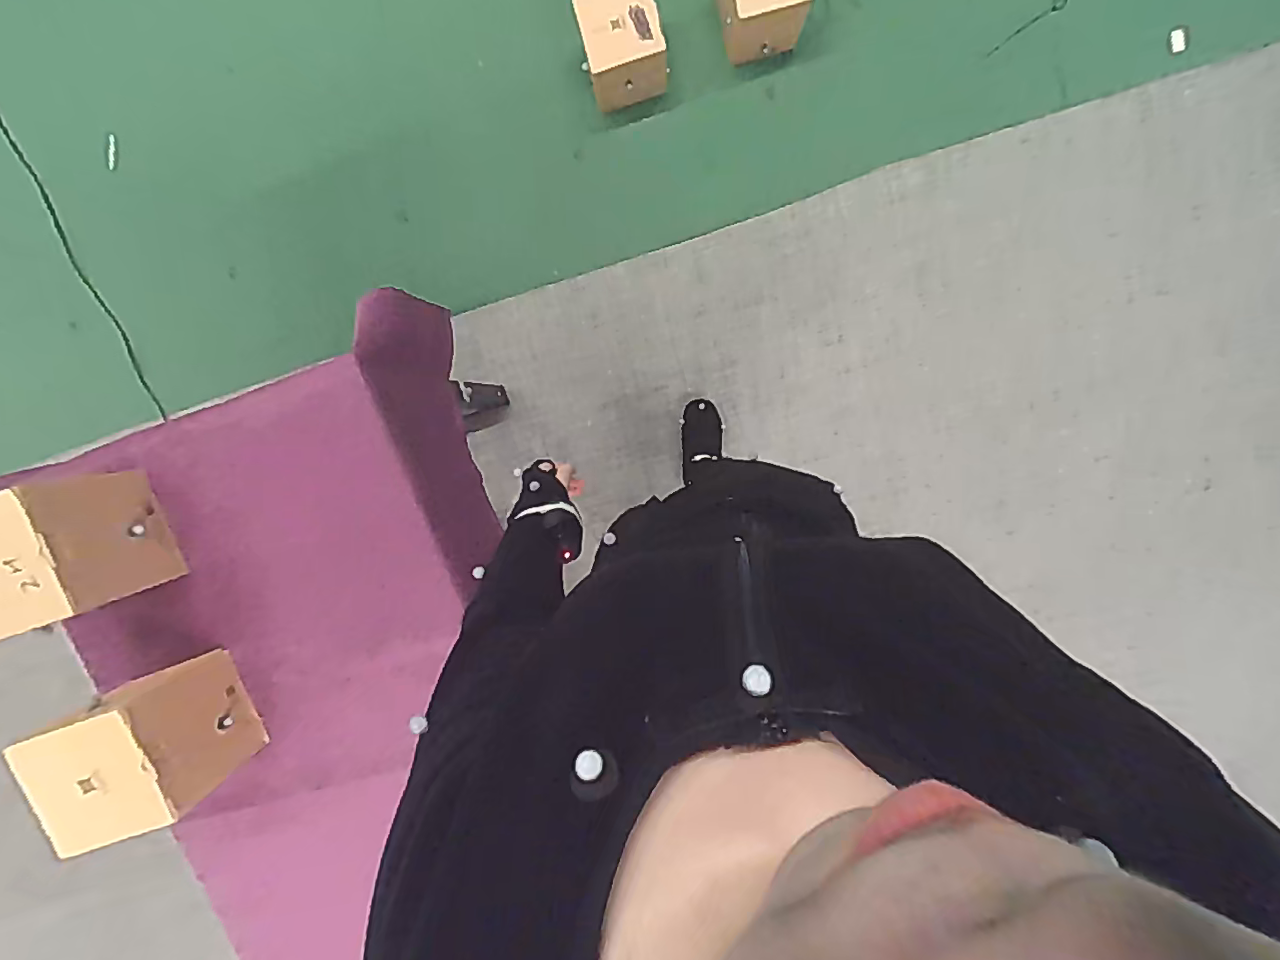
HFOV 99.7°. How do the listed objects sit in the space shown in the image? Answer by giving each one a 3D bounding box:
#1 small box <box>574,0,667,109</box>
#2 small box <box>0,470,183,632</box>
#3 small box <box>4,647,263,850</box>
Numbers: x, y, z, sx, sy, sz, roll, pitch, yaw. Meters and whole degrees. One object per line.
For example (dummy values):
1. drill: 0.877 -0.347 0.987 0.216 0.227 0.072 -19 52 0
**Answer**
1. small box: -0.039 -1.021 1.271 0.179 0.176 0.168 -15 97 6
2. small box: -0.783 0.093 0.723 0.179 0.176 0.168 -18 98 2
3. small box: -0.693 0.365 0.763 0.179 0.176 0.168 -20 97 4
